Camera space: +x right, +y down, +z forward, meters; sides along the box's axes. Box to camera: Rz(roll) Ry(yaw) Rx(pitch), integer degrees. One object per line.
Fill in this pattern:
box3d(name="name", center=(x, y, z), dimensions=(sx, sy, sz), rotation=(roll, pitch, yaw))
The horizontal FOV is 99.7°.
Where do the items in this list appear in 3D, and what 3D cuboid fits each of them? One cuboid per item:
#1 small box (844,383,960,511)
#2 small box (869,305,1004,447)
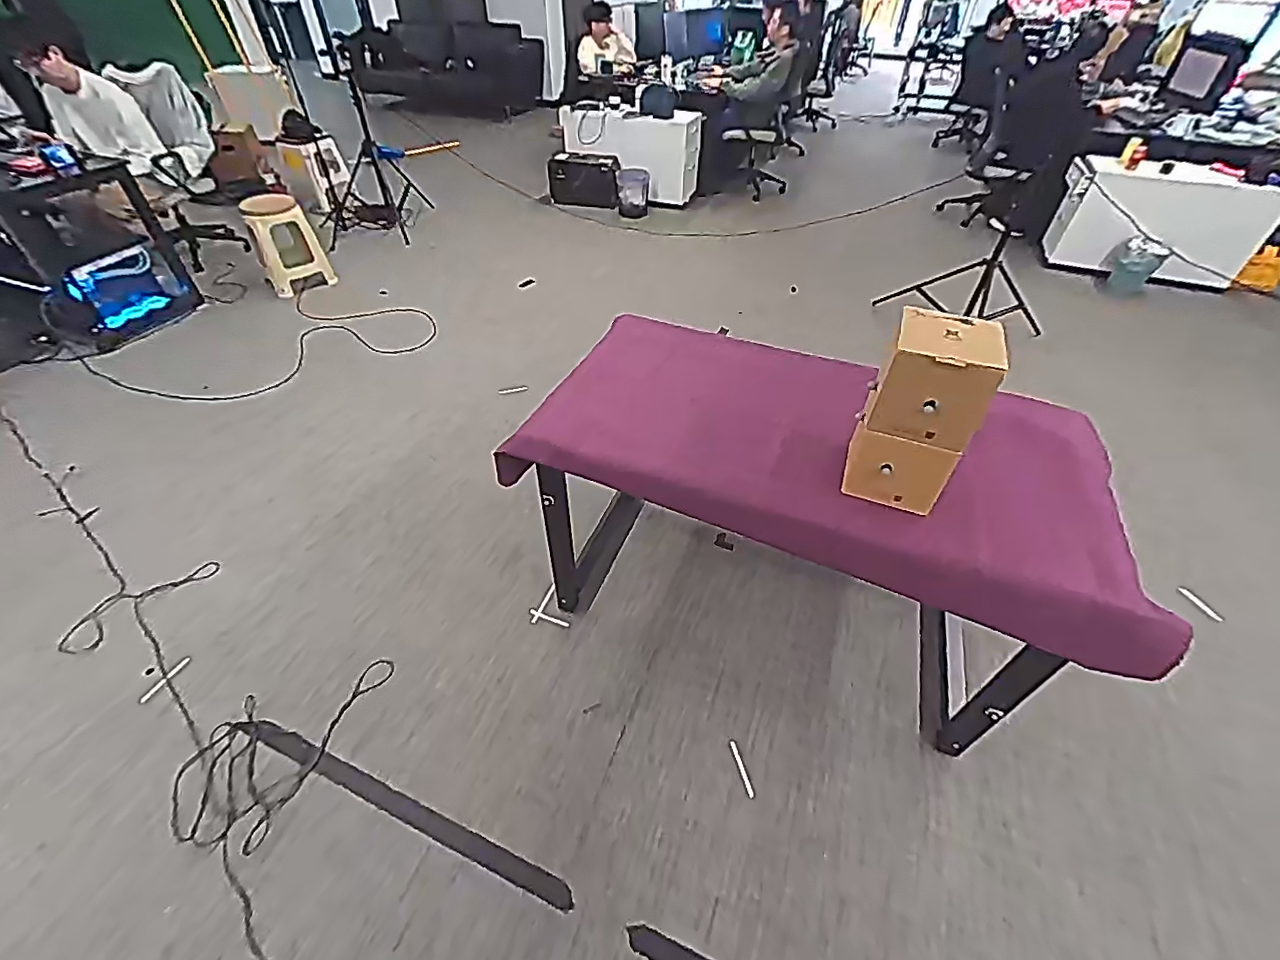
box3d(name="small box", center=(0.517, -0.064, 1.079), dimensions=(0.168, 0.176, 0.179), rotation=(16, 46, 15))
box3d(name="small box", center=(0.522, -0.185, 0.967), dimensions=(0.168, 0.176, 0.179), rotation=(17, 46, 16))
